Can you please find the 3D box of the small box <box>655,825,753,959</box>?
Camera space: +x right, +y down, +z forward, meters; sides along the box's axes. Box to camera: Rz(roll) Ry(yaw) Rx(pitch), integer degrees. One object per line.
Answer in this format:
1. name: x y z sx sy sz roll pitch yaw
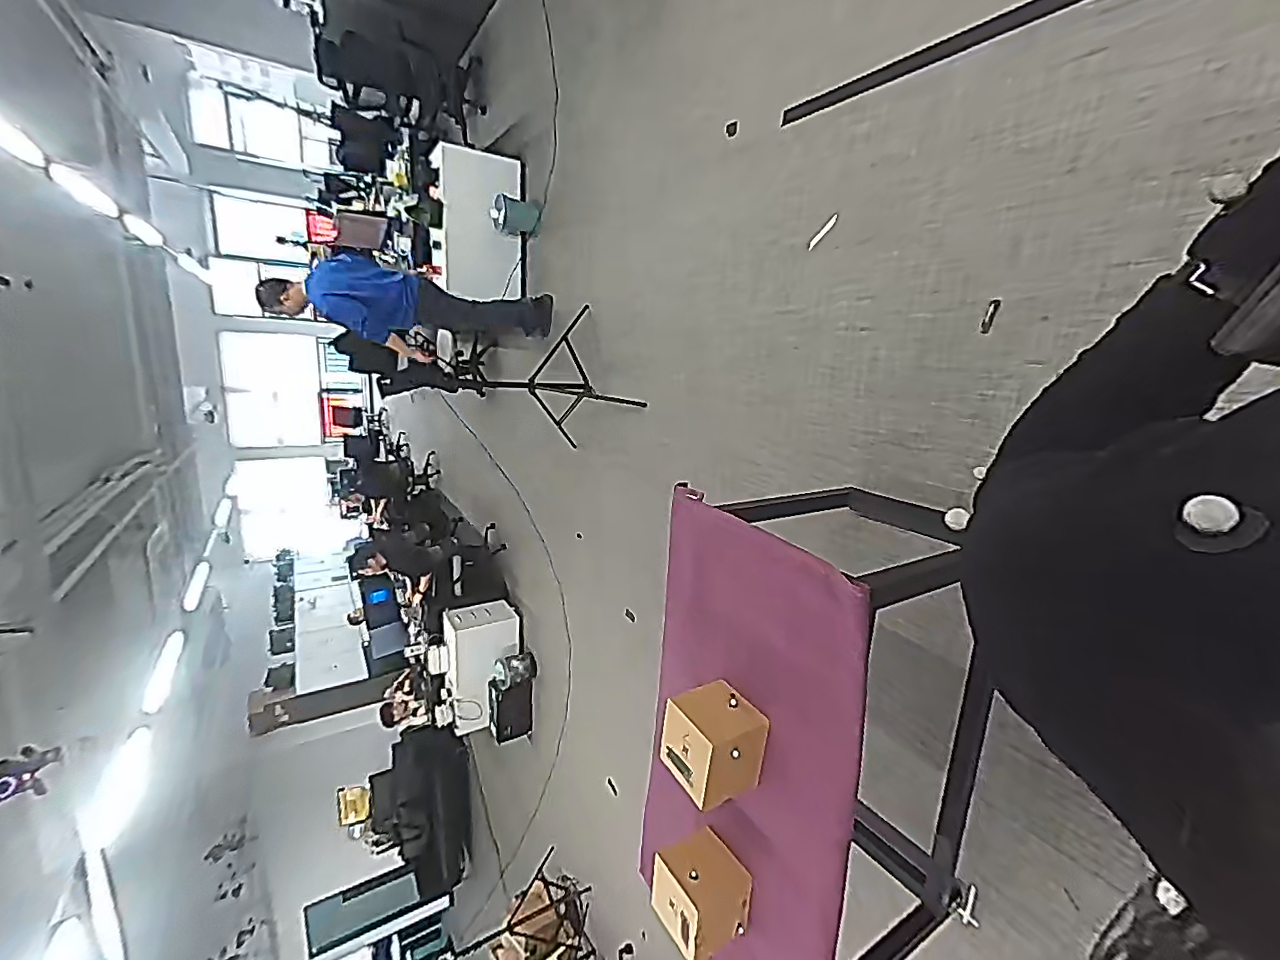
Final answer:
1. small box: 0.157 1.002 1.332 0.179 0.176 0.168 23 114 55
